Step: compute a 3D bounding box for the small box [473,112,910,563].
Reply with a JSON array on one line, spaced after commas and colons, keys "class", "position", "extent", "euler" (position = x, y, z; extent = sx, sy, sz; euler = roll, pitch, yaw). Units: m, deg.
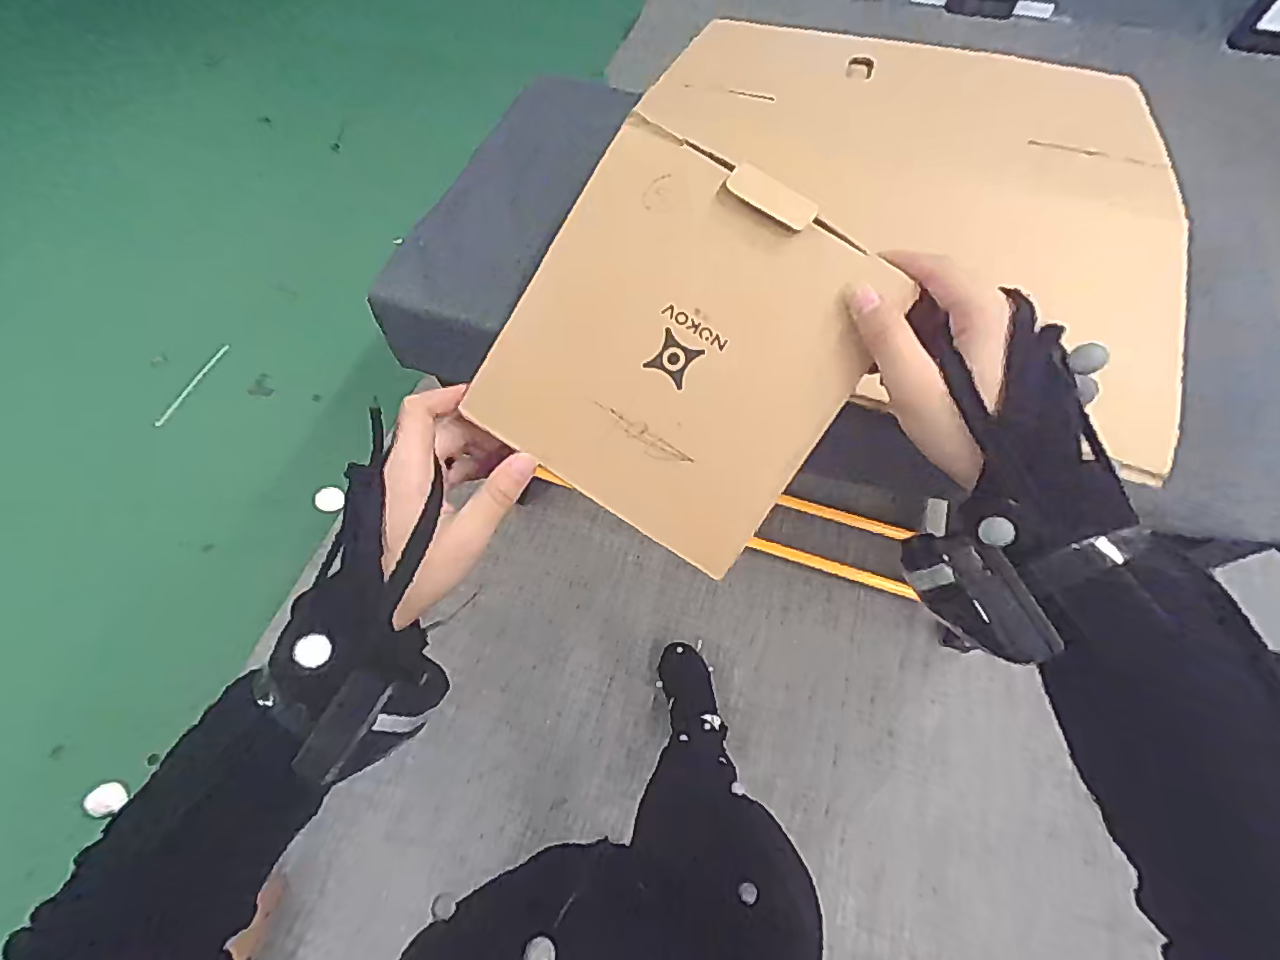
[{"class": "small box", "position": [0.029, -0.077, 0.357], "extent": [0.168, 0.176, 0.179], "euler": [33, 97, 3]}]
